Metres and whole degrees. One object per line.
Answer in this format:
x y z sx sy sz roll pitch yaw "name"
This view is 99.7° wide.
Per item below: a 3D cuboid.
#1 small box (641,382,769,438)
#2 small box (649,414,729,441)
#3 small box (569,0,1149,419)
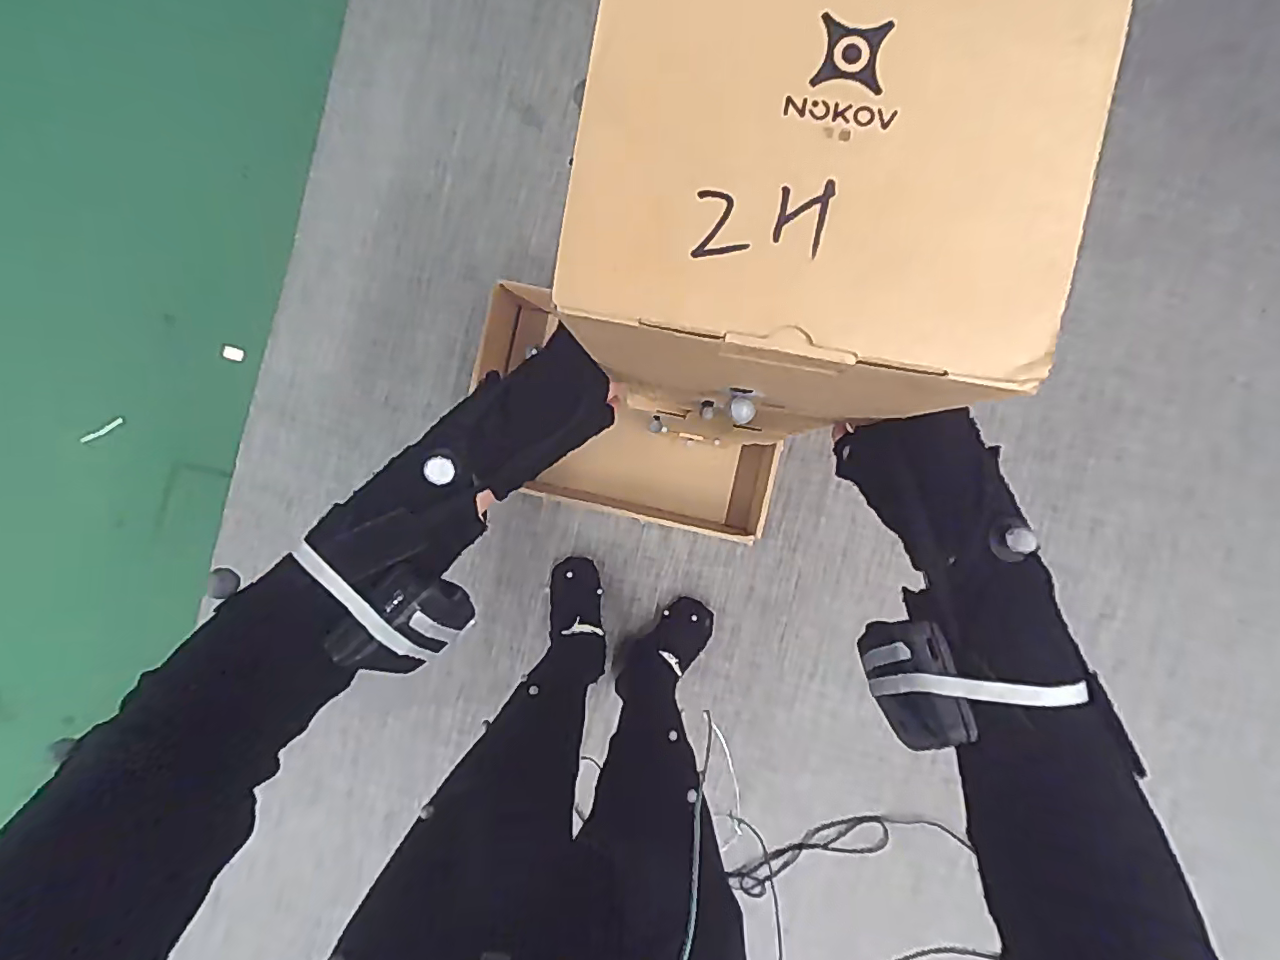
0.106 -0.161 0.756 0.168 0.176 0.179 14 92 3 "small box"
0.118 -0.176 1.085 0.168 0.176 0.179 9 91 5 "small box"
0.075 -0.132 0.254 0.168 0.176 0.179 11 94 3 "small box"
